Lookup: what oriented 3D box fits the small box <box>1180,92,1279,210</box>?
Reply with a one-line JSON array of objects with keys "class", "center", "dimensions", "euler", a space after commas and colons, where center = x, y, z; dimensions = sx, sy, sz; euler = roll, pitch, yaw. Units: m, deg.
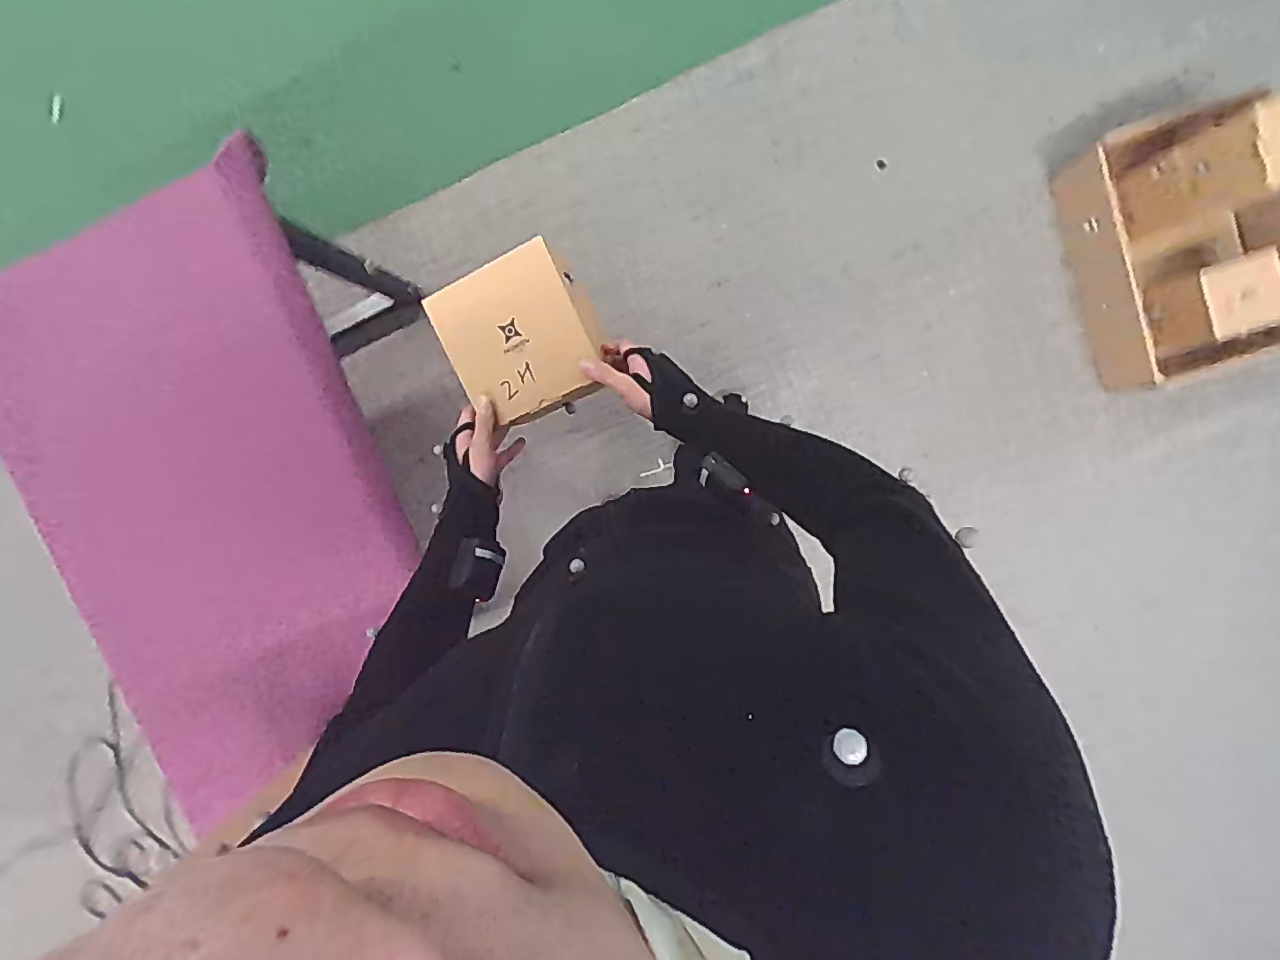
[{"class": "small box", "center": [1.320, -0.706, 1.144], "dimensions": [0.179, 0.176, 0.168], "euler": [-18, 95, 5]}]

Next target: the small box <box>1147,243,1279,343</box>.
[{"class": "small box", "center": [1.417, -0.450, 1.326], "dimensions": [0.179, 0.176, 0.168], "euler": [-18, 93, 6]}]

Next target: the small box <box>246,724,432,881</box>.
[{"class": "small box", "center": [-0.486, 0.545, 0.898], "dimensions": [0.179, 0.176, 0.168], "euler": [-24, 93, 7]}]
